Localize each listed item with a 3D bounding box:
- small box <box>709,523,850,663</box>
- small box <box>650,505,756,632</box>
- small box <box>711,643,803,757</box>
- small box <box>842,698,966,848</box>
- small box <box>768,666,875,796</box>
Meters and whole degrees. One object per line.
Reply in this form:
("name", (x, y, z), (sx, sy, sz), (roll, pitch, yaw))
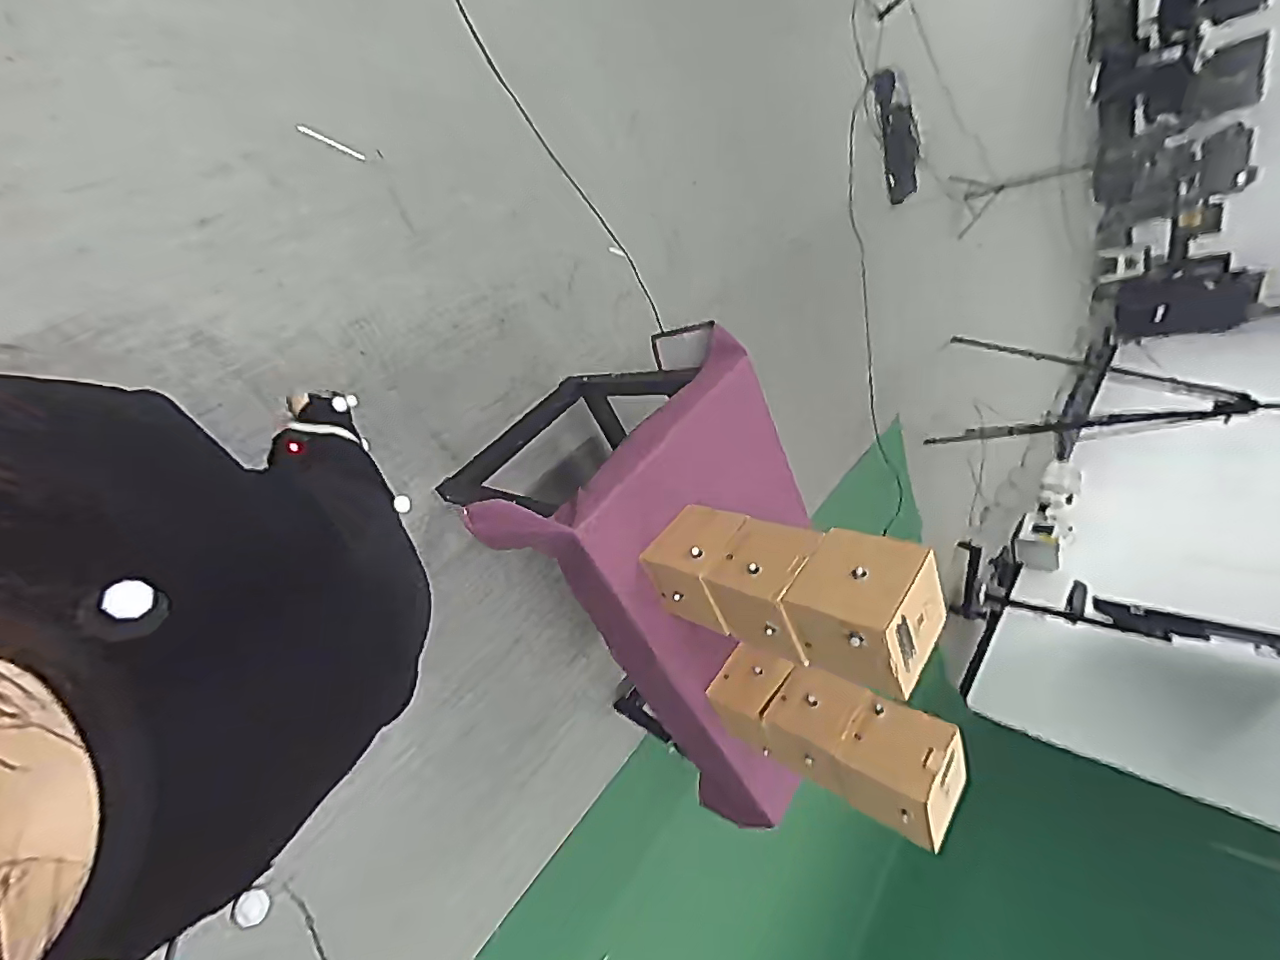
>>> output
("small box", (0.253, 0.194, 0.990), (0.168, 0.176, 0.179), (-44, 124, -27))
("small box", (0.142, 0.172, 1.108), (0.179, 0.176, 0.168), (-44, 123, -29))
("small box", (0.298, 0.519, 1.304), (0.168, 0.176, 0.179), (-45, 124, -28))
("small box", (0.516, 0.559, 1.061), (0.168, 0.176, 0.179), (-41, 123, -30))
("small box", (0.404, 0.532, 1.179), (0.168, 0.176, 0.179), (-41, 121, -30))
